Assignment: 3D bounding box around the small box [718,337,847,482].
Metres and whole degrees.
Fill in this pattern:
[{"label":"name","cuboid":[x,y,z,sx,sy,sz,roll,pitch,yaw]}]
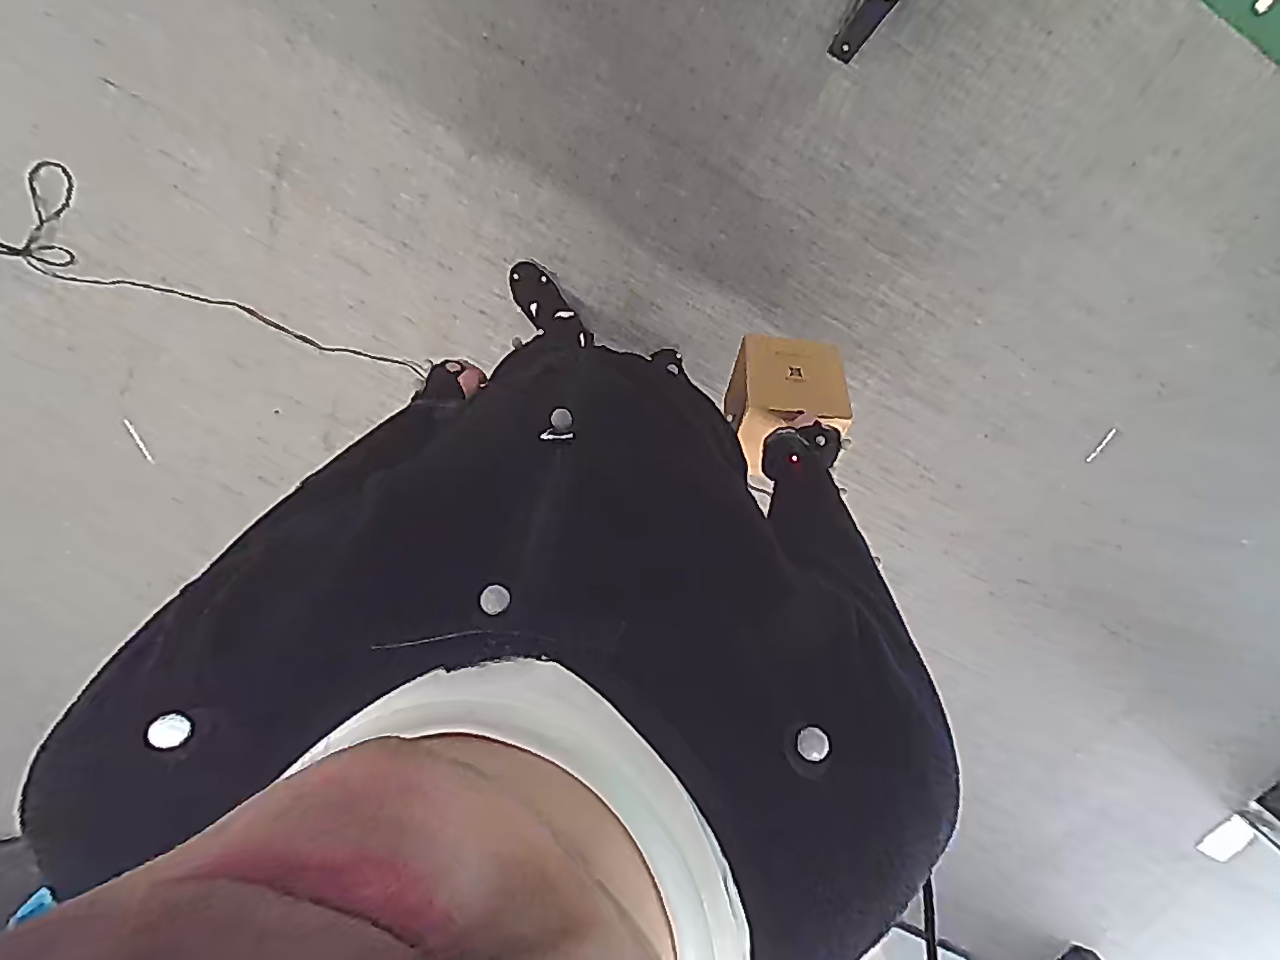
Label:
[{"label":"small box","cuboid":[0.232,-0.116,0.927,0.168,0.179,0.176,7,142,-3]}]
